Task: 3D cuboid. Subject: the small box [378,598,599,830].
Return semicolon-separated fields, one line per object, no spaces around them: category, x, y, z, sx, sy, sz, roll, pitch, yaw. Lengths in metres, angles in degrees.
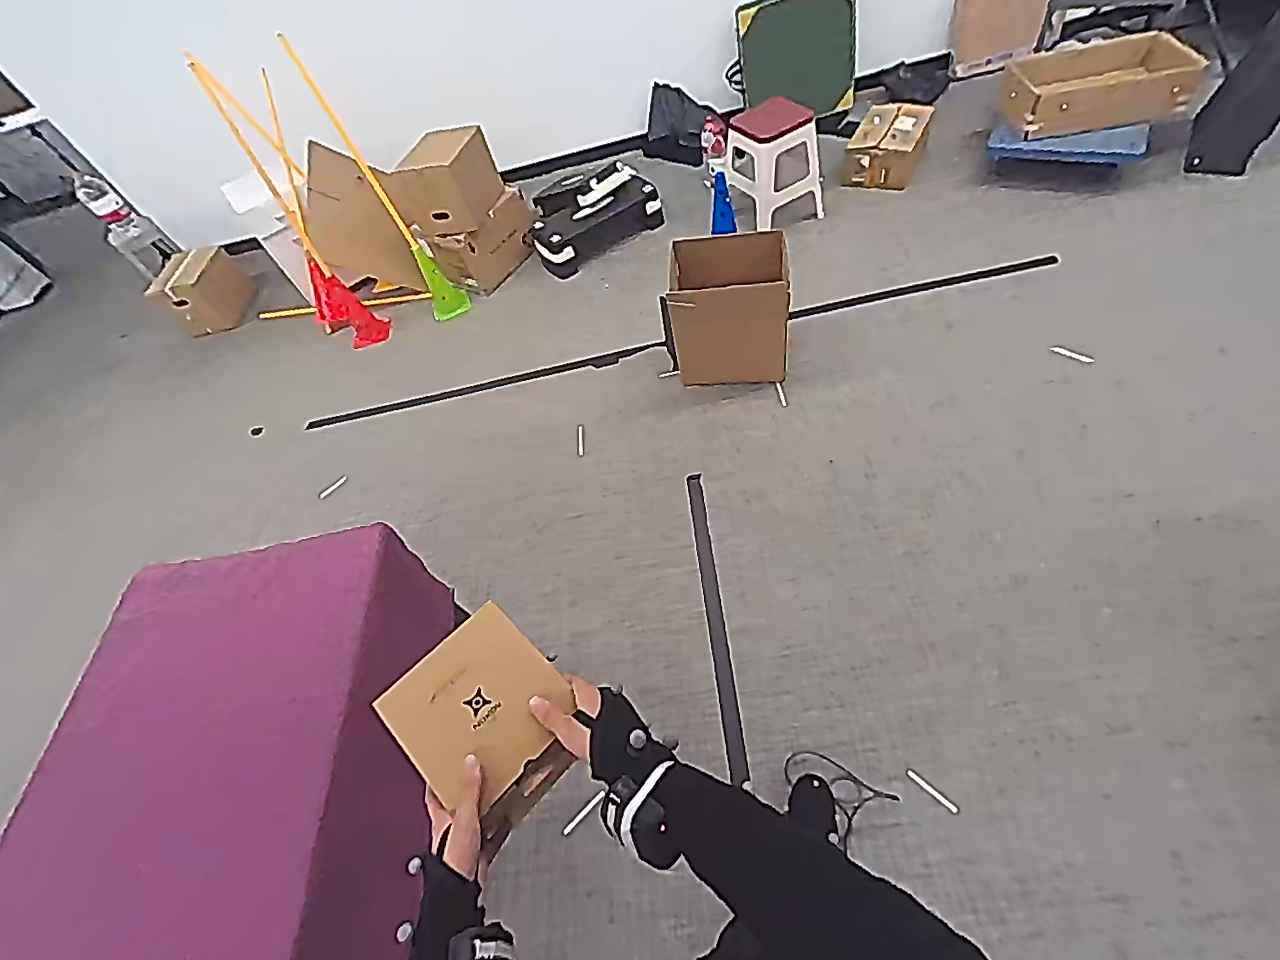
small box;-0.166;0.279;0.649;0.179;0.176;0.168;39;66;23
